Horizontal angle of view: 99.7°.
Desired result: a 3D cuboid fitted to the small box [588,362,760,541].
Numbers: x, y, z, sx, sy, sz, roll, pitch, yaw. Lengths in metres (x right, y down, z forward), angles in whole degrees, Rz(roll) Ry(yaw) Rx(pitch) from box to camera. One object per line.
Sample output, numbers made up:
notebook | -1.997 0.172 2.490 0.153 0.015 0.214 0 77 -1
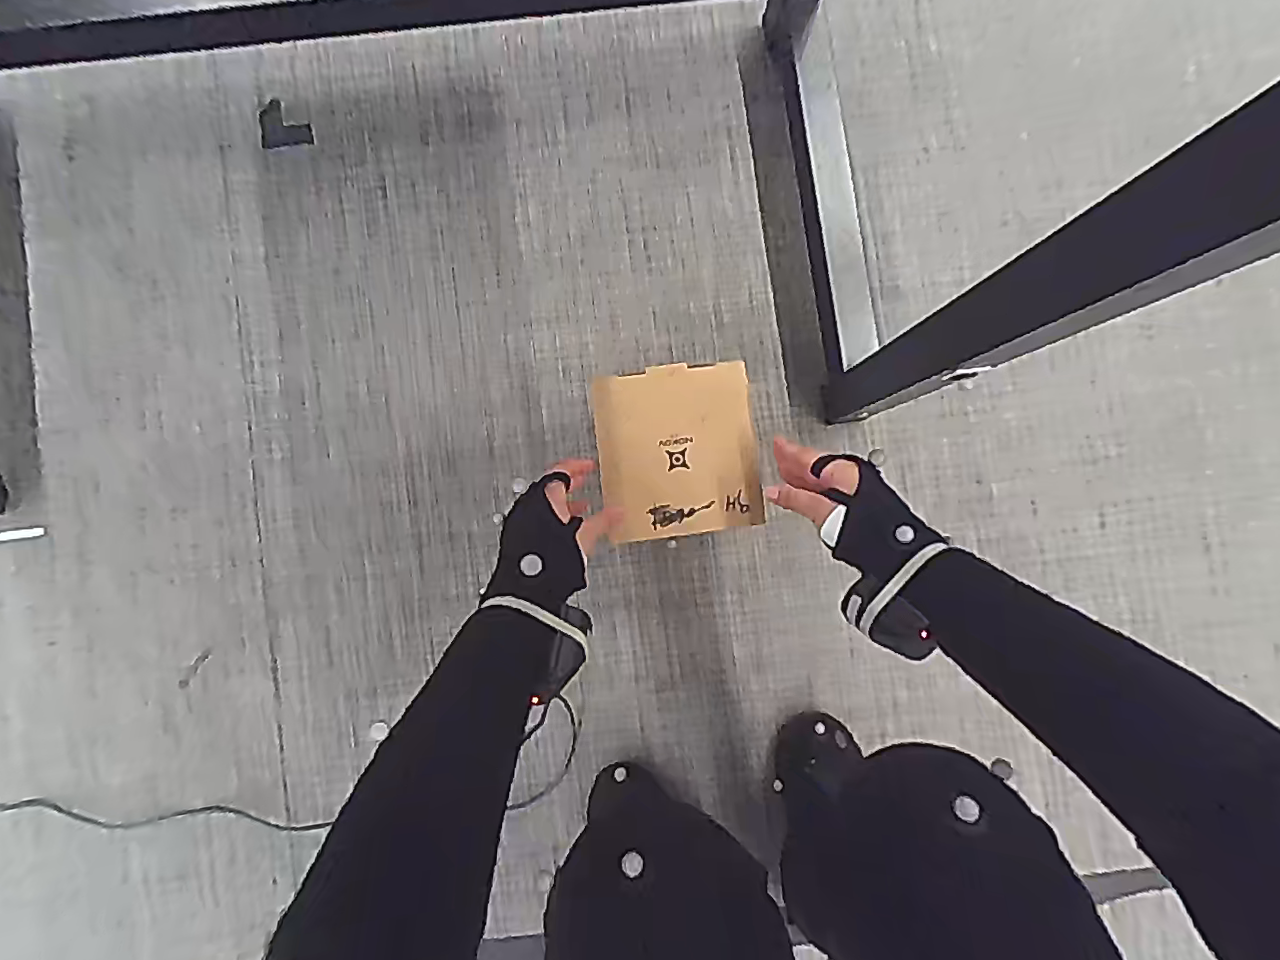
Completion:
small box | 0.034 -0.024 0.644 0.168 0.176 0.179 -8 86 0
